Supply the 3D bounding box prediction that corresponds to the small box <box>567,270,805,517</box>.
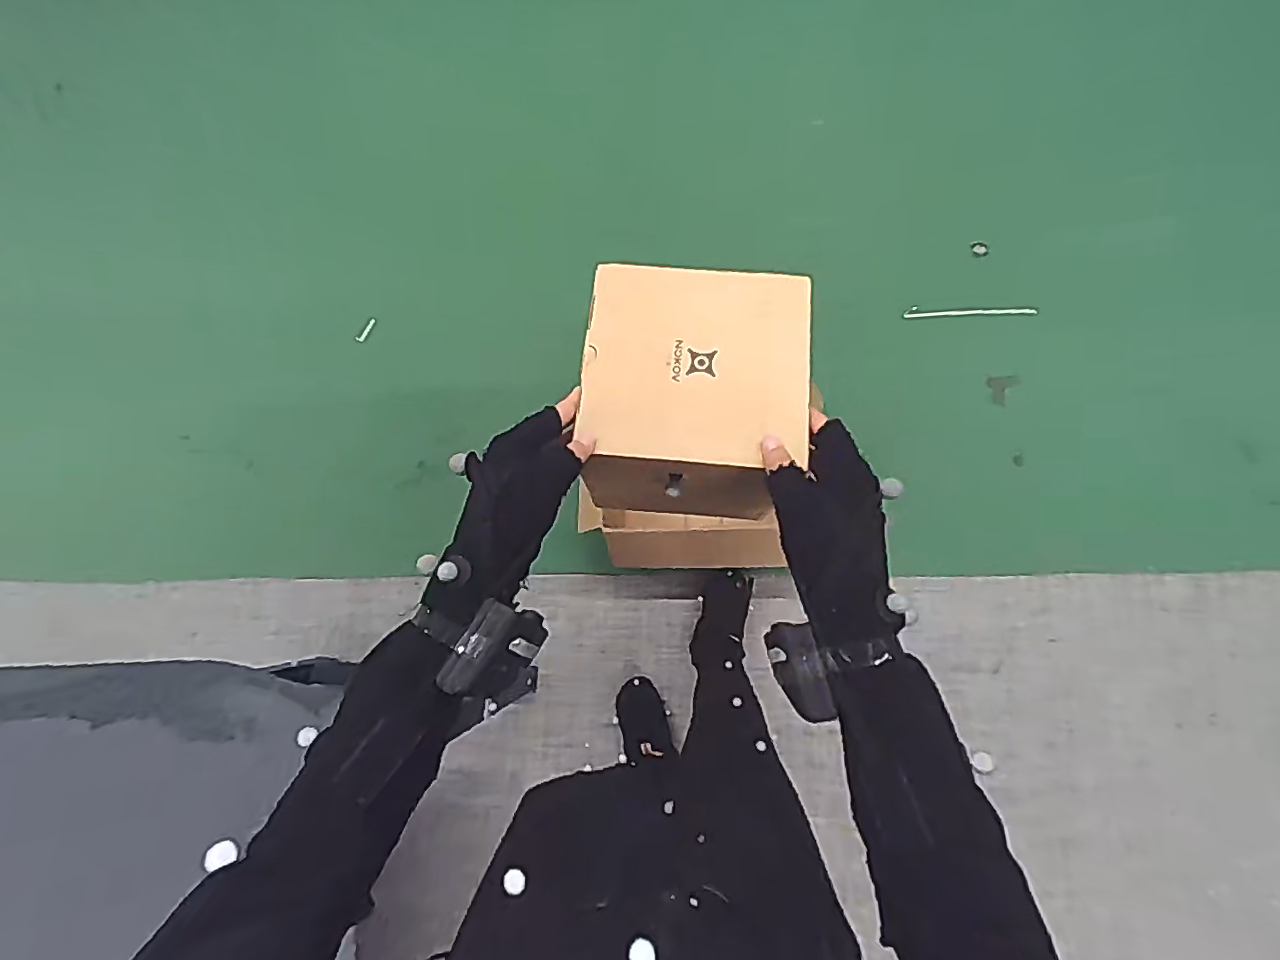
[{"bbox_3d":[0.042,-0.066,0.497,0.179,0.176,0.168,5,73,4],"label":"small box"}]
